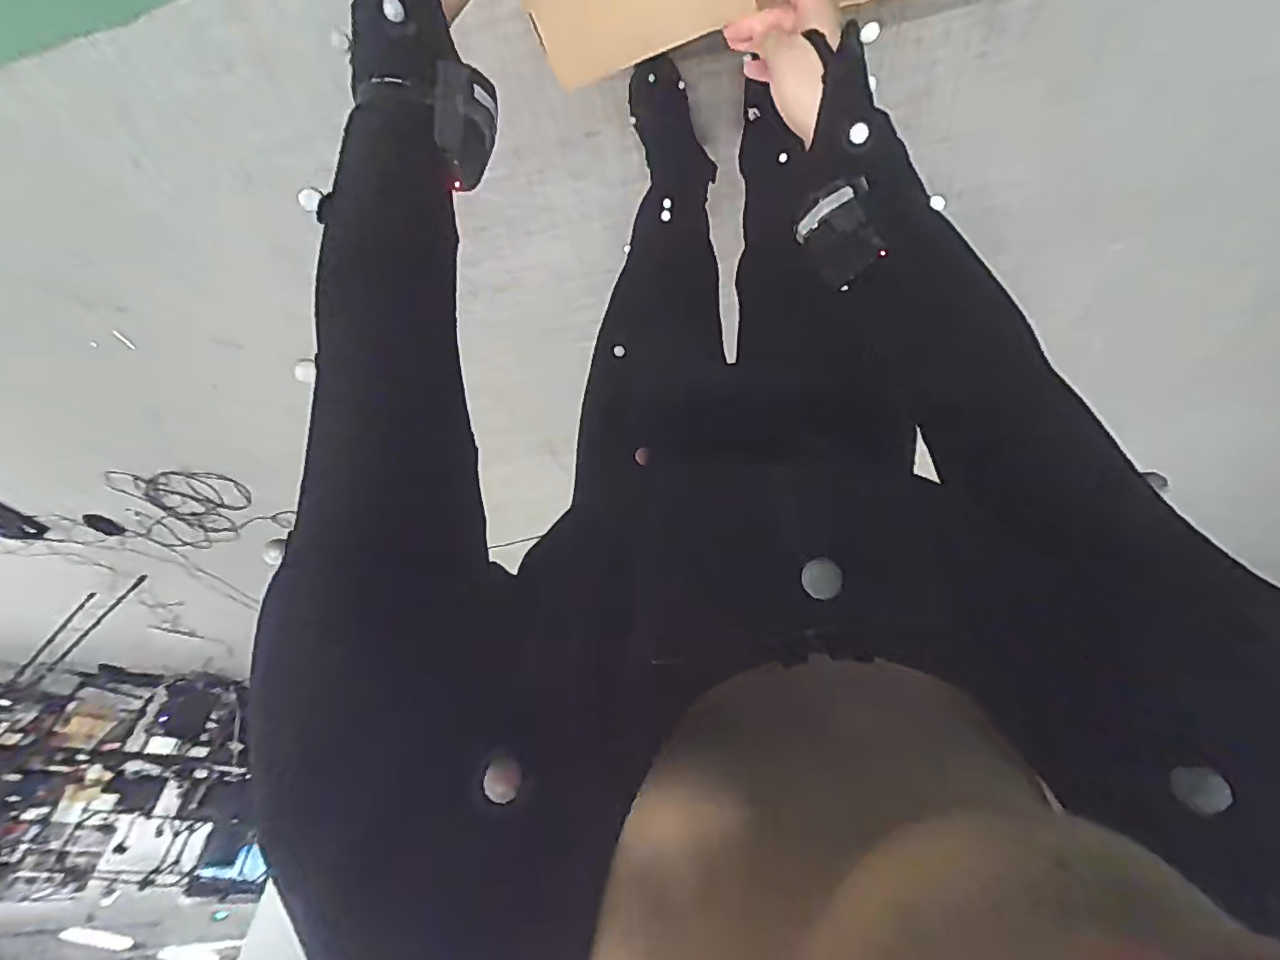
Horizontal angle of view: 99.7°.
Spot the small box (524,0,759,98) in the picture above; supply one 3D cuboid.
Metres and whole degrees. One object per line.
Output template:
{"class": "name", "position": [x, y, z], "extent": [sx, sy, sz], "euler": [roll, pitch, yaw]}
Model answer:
{"class": "small box", "position": [-0.009, -0.463, 0.438], "extent": [0.179, 0.176, 0.168], "euler": [-9, 143, 19]}

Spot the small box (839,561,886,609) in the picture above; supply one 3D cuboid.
{"class": "small box", "position": [1.002, 0.476, 2.445], "extent": [0.179, 0.176, 0.168], "euler": [-5, 144, 16]}
